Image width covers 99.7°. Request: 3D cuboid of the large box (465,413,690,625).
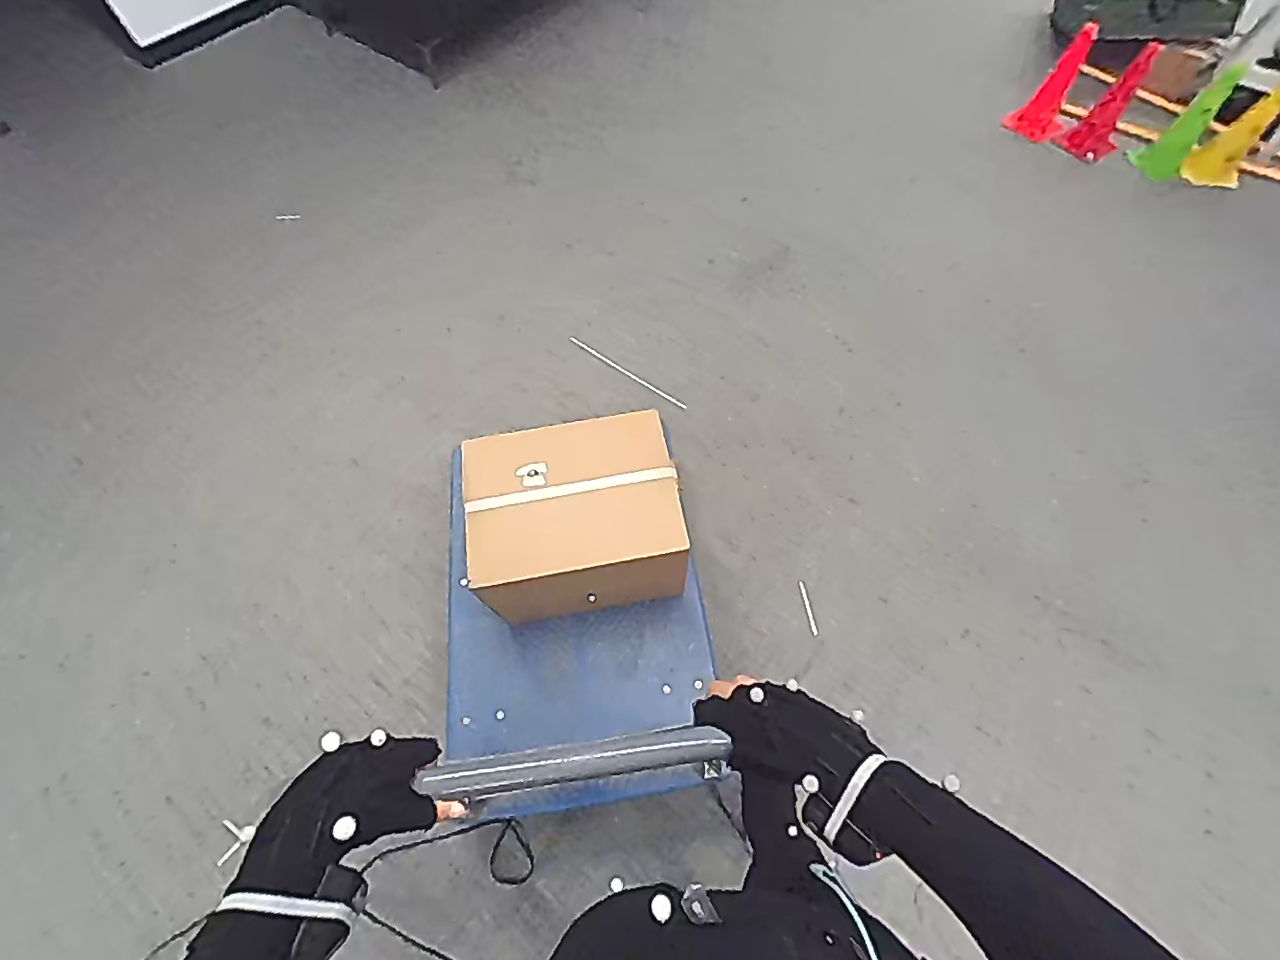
[{"bbox_3d":[-0.124,0.098,1.172,0.408,0.320,0.320,-11,62,-2],"label":"large box"}]
